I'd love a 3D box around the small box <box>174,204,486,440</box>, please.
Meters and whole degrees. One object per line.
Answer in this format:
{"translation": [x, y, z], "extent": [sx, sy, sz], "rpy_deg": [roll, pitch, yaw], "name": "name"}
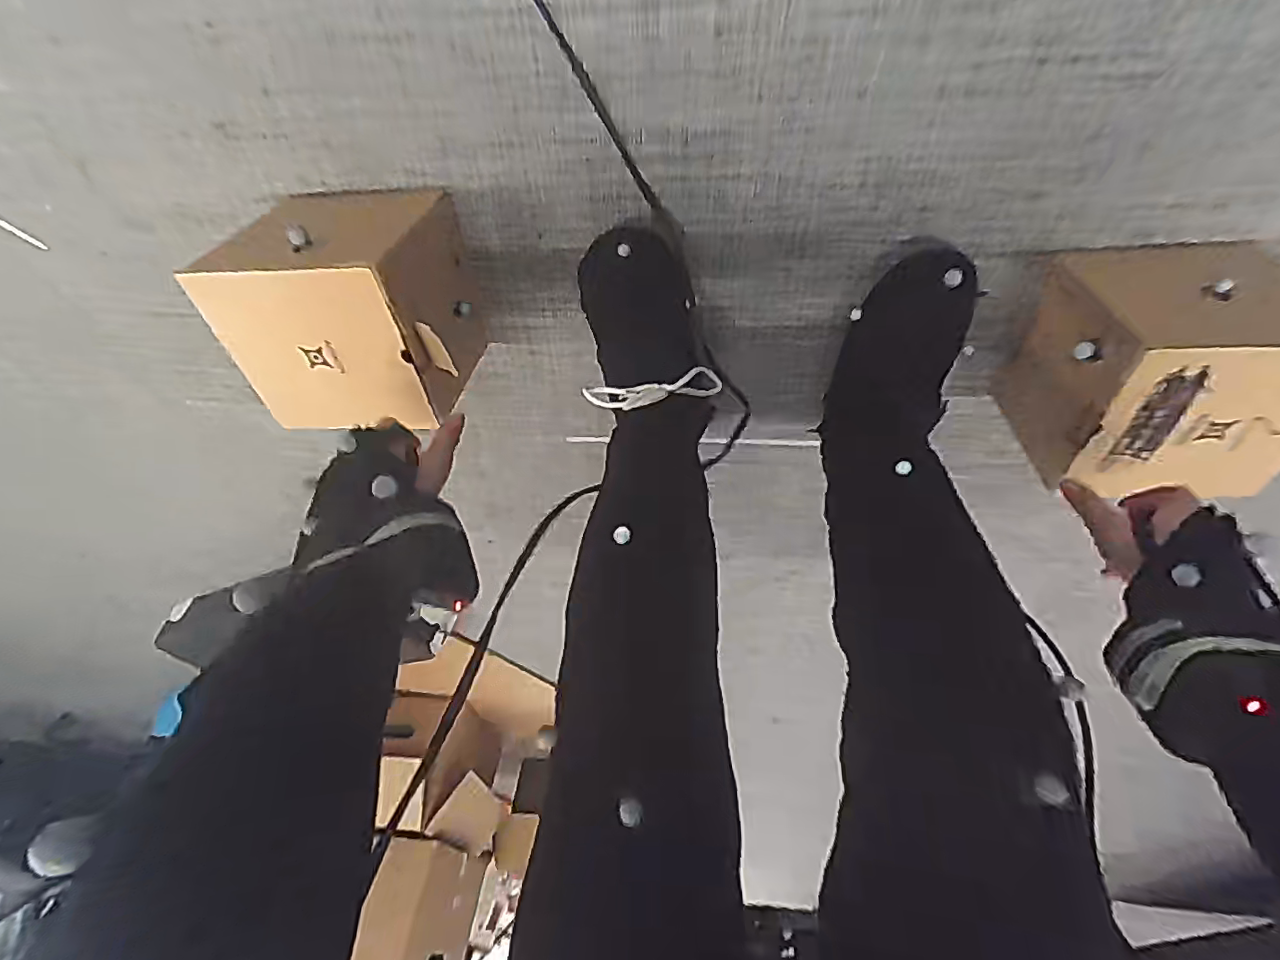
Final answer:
{"translation": [-0.277, -0.156, 0.535], "extent": [0.179, 0.176, 0.168], "rpy_deg": [0, 136, 7], "name": "small box"}
